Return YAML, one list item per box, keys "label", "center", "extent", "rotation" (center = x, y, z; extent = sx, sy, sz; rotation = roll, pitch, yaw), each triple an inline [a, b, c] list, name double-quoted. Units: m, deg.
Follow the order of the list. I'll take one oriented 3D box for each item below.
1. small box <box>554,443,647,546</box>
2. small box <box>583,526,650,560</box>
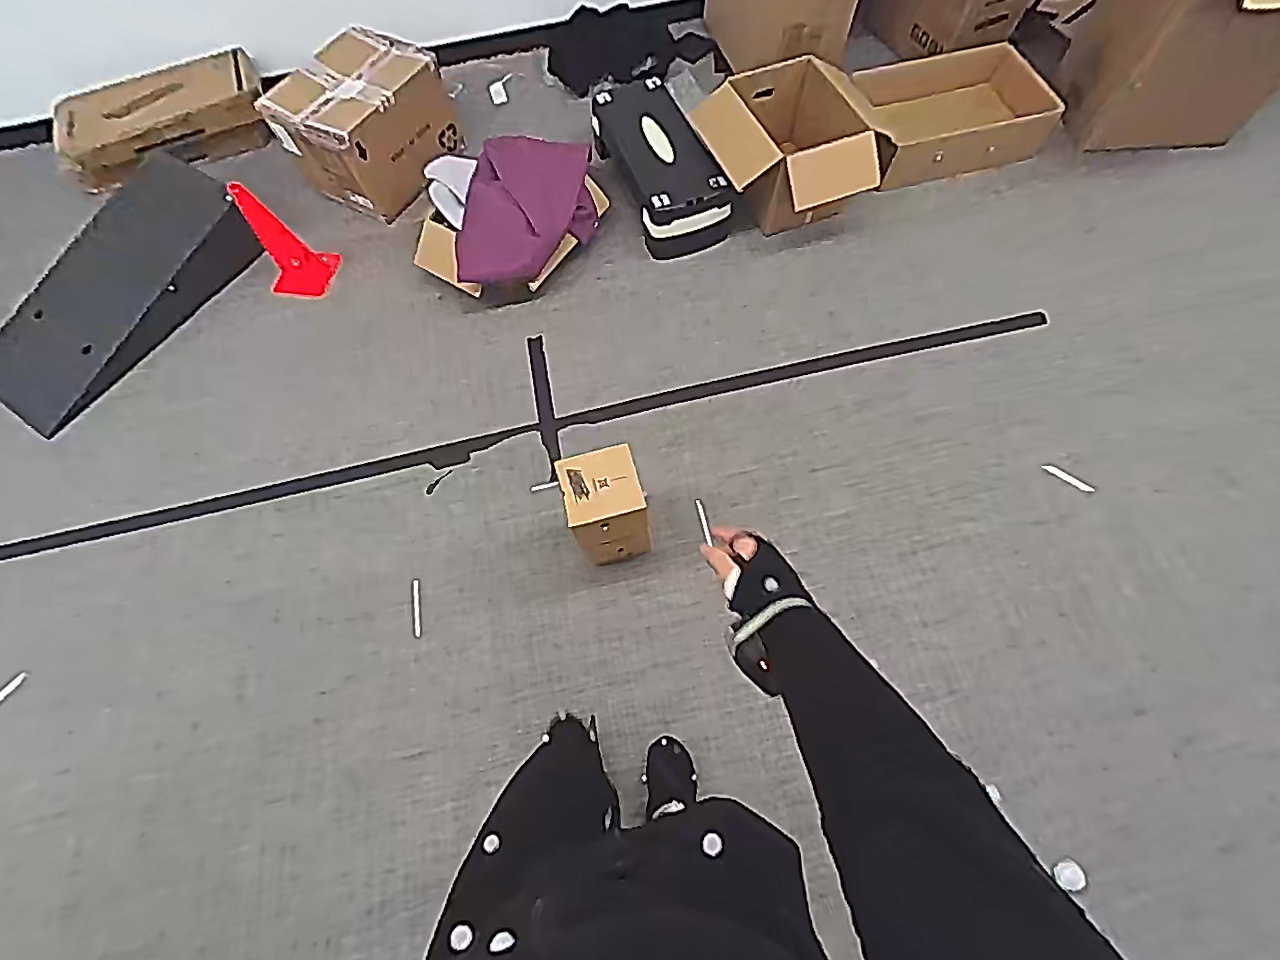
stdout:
- label: "small box"
  center: [-0.087, 0.040, 1.261]
  extent: [0.179, 0.176, 0.168]
  rotation: [-15, 67, -4]
- label: "small box"
  center: [-0.074, 0.101, 1.415]
  extent: [0.168, 0.176, 0.179]
  rotation: [-15, 68, -4]
